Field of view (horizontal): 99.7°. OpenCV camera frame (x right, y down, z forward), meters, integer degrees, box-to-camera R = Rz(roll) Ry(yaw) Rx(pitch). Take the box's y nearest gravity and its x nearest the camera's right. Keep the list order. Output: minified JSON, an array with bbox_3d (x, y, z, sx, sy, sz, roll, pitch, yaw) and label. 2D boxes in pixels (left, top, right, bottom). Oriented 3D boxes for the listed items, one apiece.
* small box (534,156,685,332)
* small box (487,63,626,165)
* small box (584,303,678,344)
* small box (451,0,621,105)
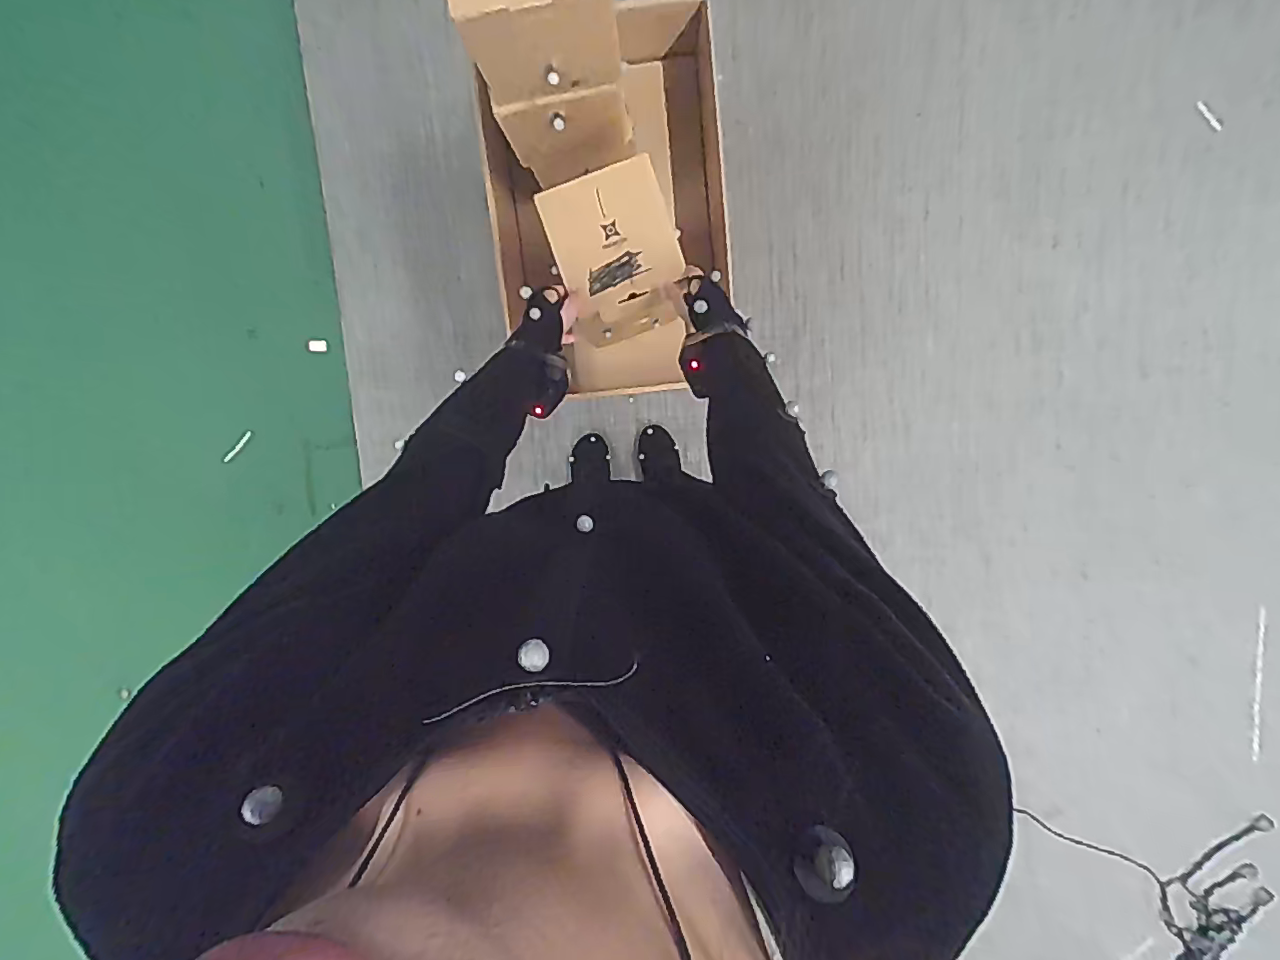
[{"bbox_3d":[-0.038,-0.334,0.810,0.168,0.176,0.179,-19,94,2],"label":"small box"},{"bbox_3d":[-0.117,-0.586,0.778,0.179,0.176,0.168,-10,98,4],"label":"small box"},{"bbox_3d":[-0.036,-0.355,0.974,0.168,0.176,0.179,-19,96,3],"label":"small box"},{"bbox_3d":[-0.118,-0.573,0.613,0.168,0.176,0.179,-8,99,4],"label":"small box"}]
